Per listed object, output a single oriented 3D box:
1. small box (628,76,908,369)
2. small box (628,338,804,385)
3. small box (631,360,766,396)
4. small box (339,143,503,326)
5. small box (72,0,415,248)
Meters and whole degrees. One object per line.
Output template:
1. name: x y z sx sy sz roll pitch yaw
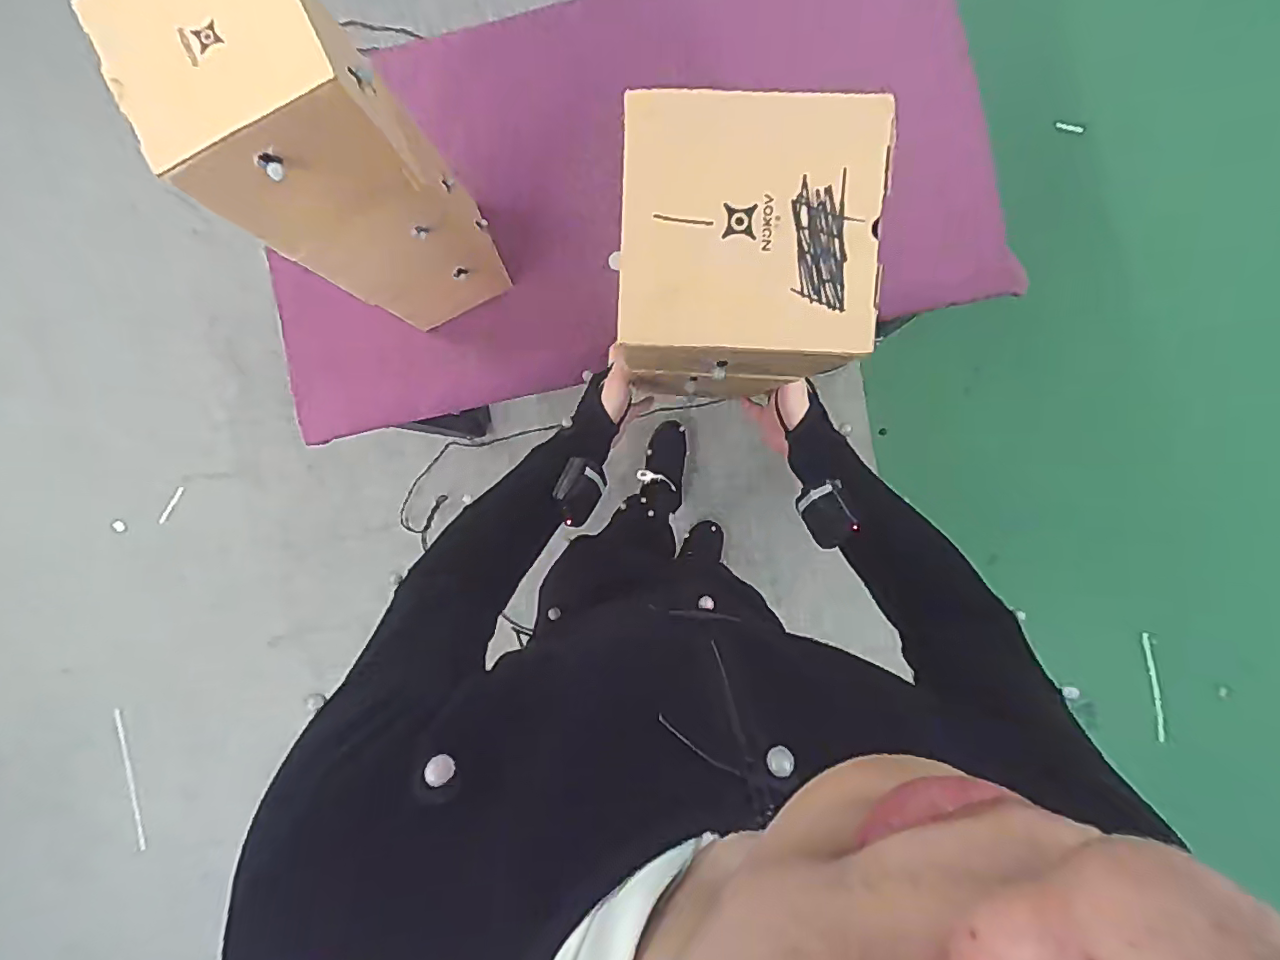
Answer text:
1. small box: 0.083 -0.183 0.437 0.179 0.176 0.168 3 96 1
2. small box: 0.083 -0.198 0.601 0.179 0.176 0.168 4 96 1
3. small box: 0.084 -0.211 0.764 0.179 0.176 0.168 5 96 0
4. small box: -0.331 -0.364 0.836 0.179 0.176 0.168 -24 89 3
5. small box: -0.341 -0.356 0.509 0.179 0.176 0.168 -26 90 3
